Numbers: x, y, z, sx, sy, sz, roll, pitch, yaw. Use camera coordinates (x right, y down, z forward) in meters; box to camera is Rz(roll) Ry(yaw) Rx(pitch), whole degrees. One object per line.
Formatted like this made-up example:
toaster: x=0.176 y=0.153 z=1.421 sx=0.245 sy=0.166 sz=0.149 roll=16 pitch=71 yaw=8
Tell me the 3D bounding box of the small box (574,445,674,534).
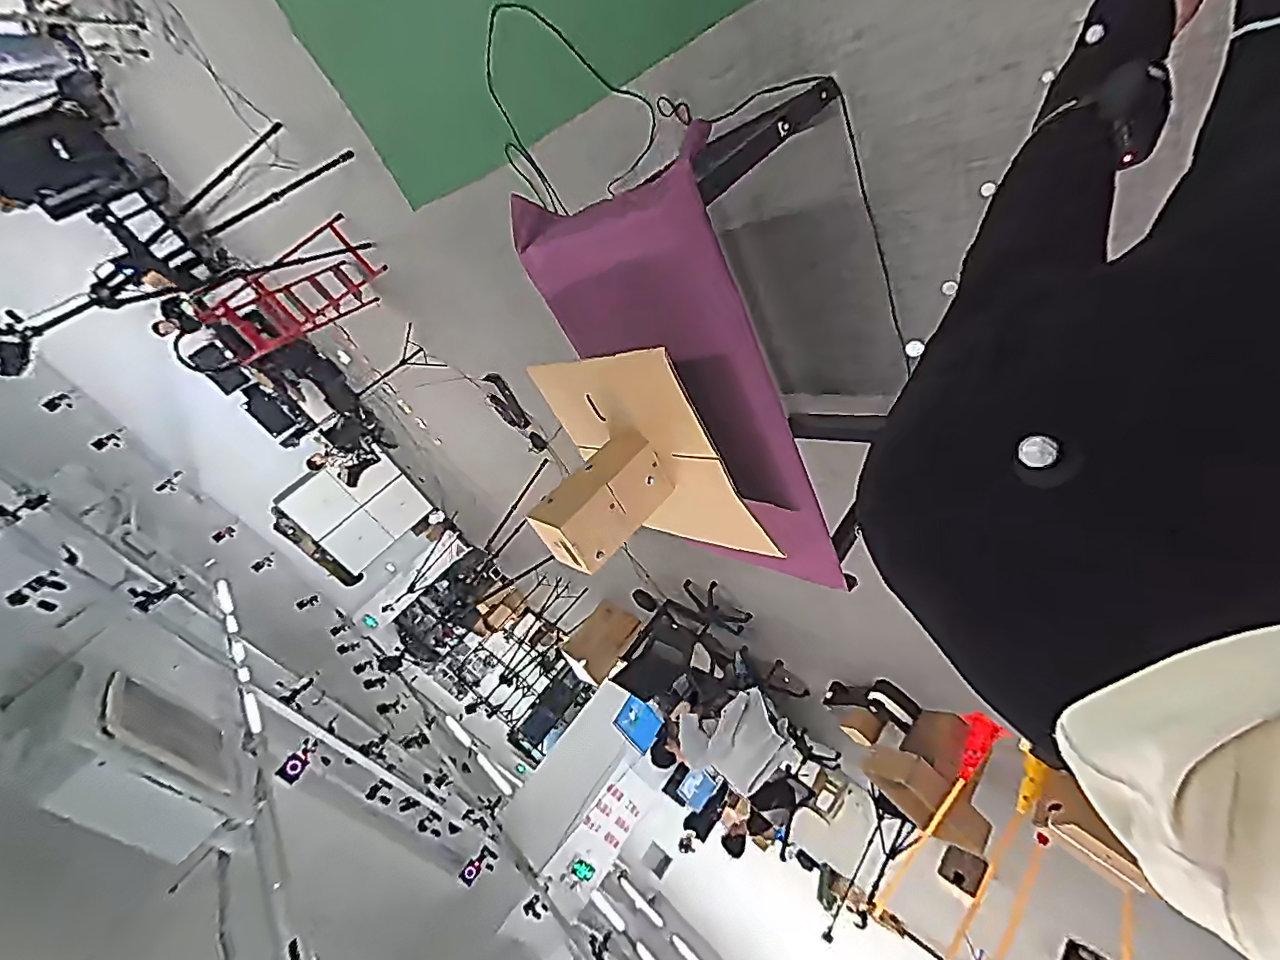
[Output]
small box: x=-0.040 y=0.019 z=1.461 sx=0.179 sy=0.176 sz=0.168 roll=9 pitch=137 yaw=49
